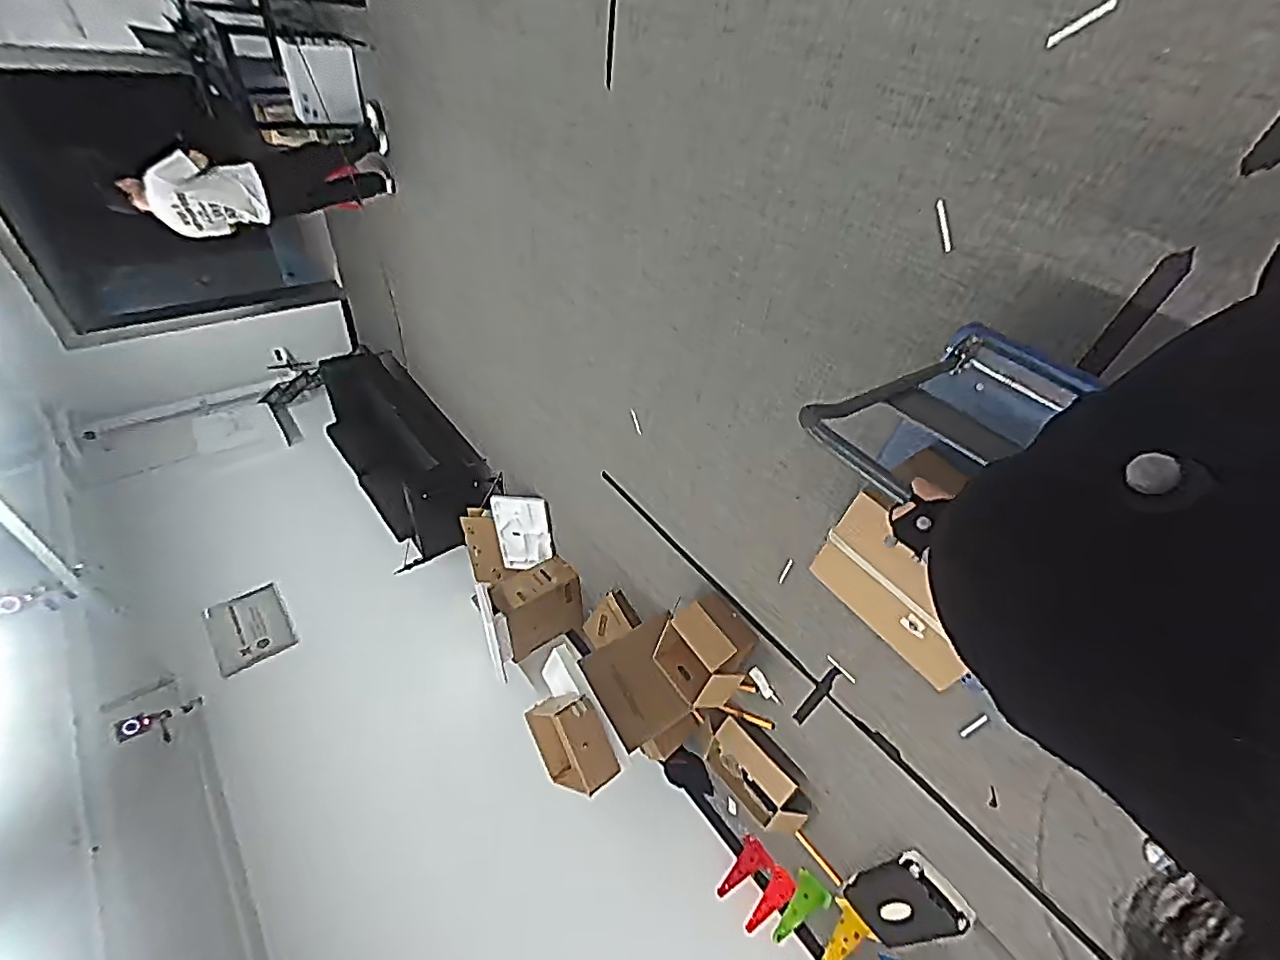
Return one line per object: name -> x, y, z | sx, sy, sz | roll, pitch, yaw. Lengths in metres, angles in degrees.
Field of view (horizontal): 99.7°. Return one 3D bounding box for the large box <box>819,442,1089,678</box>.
large box -> 0.727, 0.173, 1.298 | 0.408, 0.320, 0.320 | 44, 143, 28
